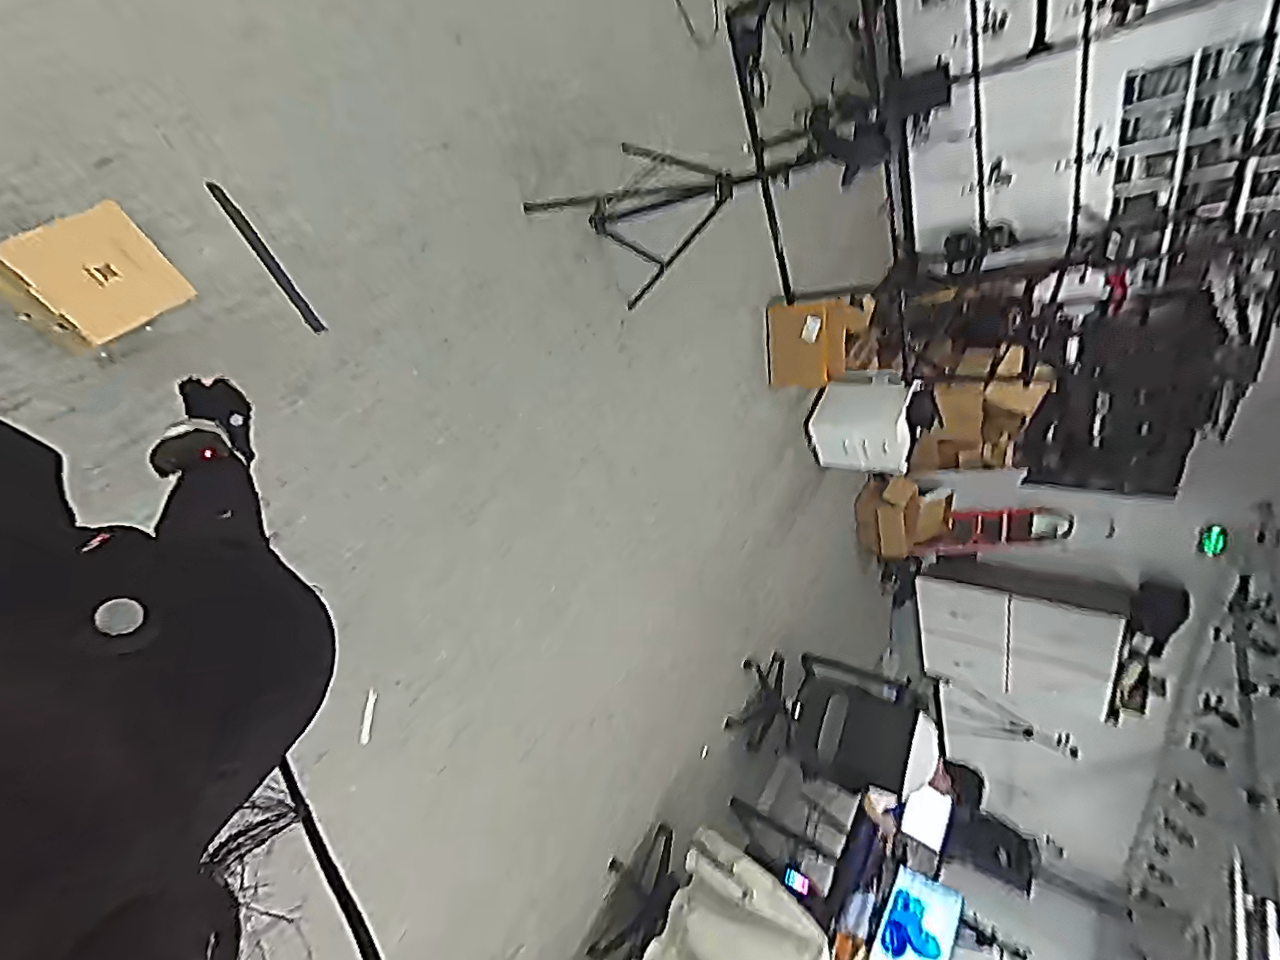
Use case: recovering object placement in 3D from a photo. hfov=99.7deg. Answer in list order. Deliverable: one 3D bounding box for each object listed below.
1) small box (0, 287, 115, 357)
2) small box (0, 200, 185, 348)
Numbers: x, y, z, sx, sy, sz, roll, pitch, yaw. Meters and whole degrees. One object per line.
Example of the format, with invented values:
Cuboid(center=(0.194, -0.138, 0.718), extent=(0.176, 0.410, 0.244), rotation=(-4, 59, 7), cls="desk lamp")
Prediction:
Cuboid(center=(-1.055, -0.342, 0.990), extent=(0.168, 0.176, 0.179), rotation=(-55, 132, -30), cls="small box")
Cuboid(center=(-0.921, -0.332, 0.896), extent=(0.179, 0.176, 0.168), rotation=(-53, 133, -33), cls="small box")
